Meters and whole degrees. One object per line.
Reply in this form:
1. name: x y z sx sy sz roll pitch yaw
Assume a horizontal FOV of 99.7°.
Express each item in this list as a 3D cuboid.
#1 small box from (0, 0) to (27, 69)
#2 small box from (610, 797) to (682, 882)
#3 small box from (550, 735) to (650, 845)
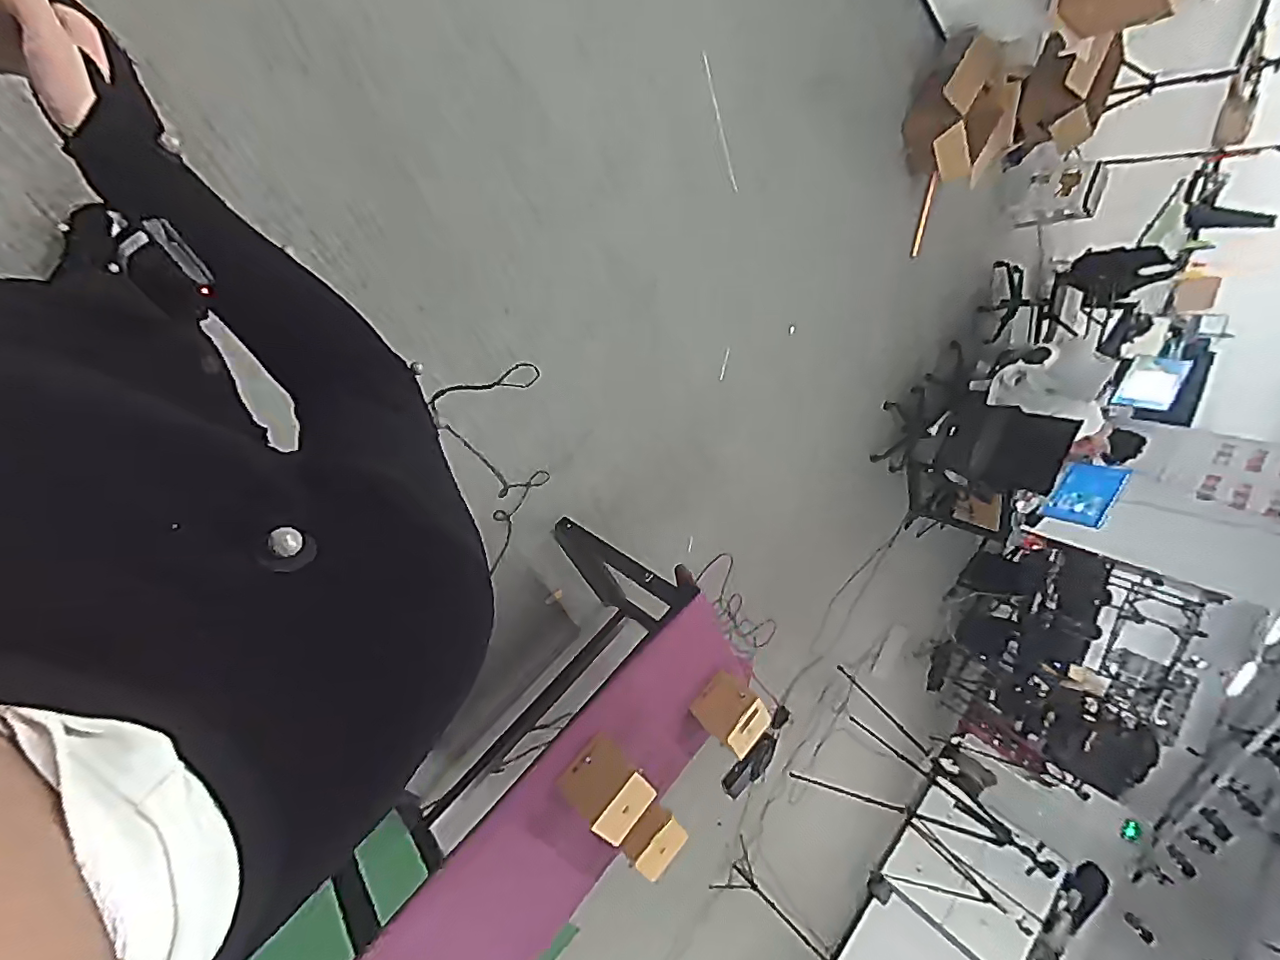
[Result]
1. small box: -0.550 -0.407 0.342 0.168 0.176 0.179 -18 113 -36
2. small box: -0.005 1.058 1.639 0.168 0.176 0.179 -41 129 -21
3. small box: -0.107 0.819 1.441 0.168 0.176 0.179 -43 132 -20
